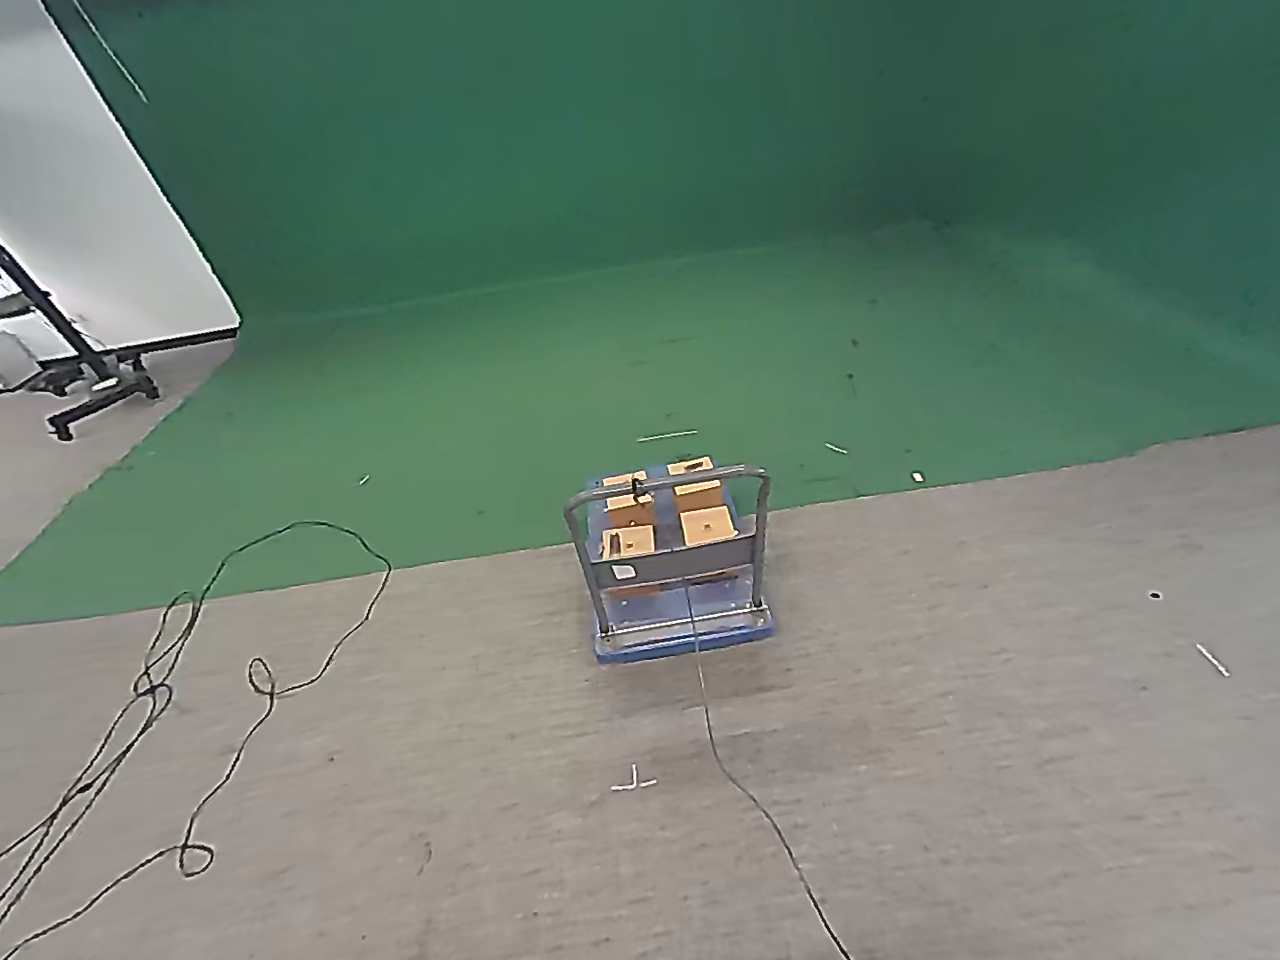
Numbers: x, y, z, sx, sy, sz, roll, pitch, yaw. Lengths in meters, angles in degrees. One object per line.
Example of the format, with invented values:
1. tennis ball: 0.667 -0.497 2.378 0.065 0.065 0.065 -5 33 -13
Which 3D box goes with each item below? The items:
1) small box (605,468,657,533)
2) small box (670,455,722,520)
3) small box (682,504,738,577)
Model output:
1. small box: -0.034 0.084 2.048 0.168 0.176 0.179 -11 41 -2
2. small box: 0.212 0.032 2.058 0.168 0.176 0.179 -12 42 -1
3. small box: 0.238 0.209 1.855 0.168 0.176 0.179 -8 42 1
